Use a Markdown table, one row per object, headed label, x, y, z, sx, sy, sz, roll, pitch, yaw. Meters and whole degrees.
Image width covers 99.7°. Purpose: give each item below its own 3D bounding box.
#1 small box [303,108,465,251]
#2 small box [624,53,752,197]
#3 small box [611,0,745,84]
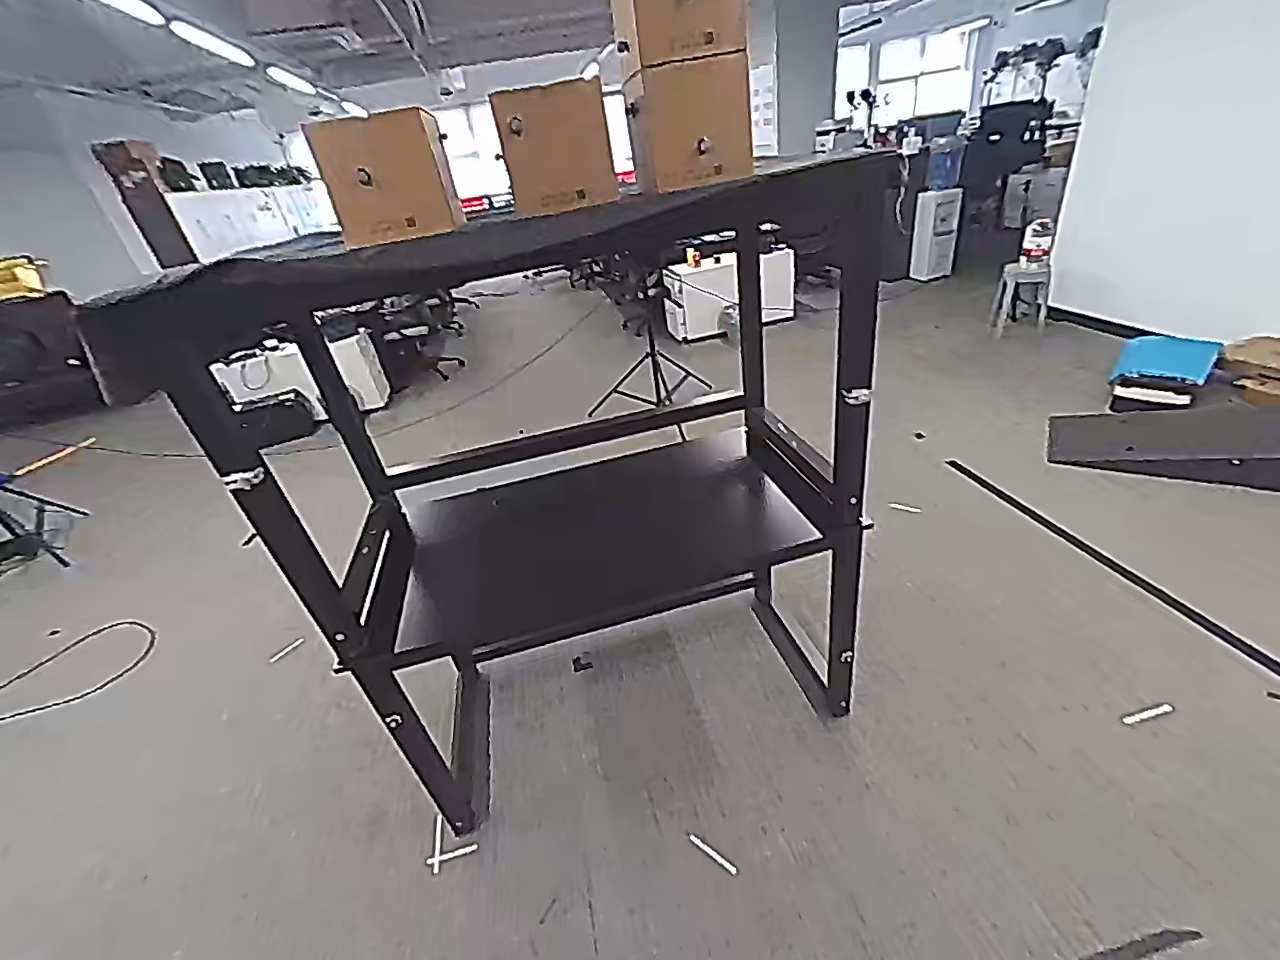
| label | x | y | z | sx | sy | sz | roll | pitch | yaw |
| --- | --- | --- | --- | --- | --- | --- | --- | --- | --- |
| small box | -0.391 | -0.472 | 0.865 | 0.168 | 0.176 | 0.179 | -12 | 29 | -4 |
| small box | 0.077 | -0.578 | 0.900 | 0.168 | 0.176 | 0.179 | -14 | 31 | -5 |
| small box | 0.053 | -0.718 | 0.818 | 0.168 | 0.176 | 0.179 | -13 | 31 | -5 |
